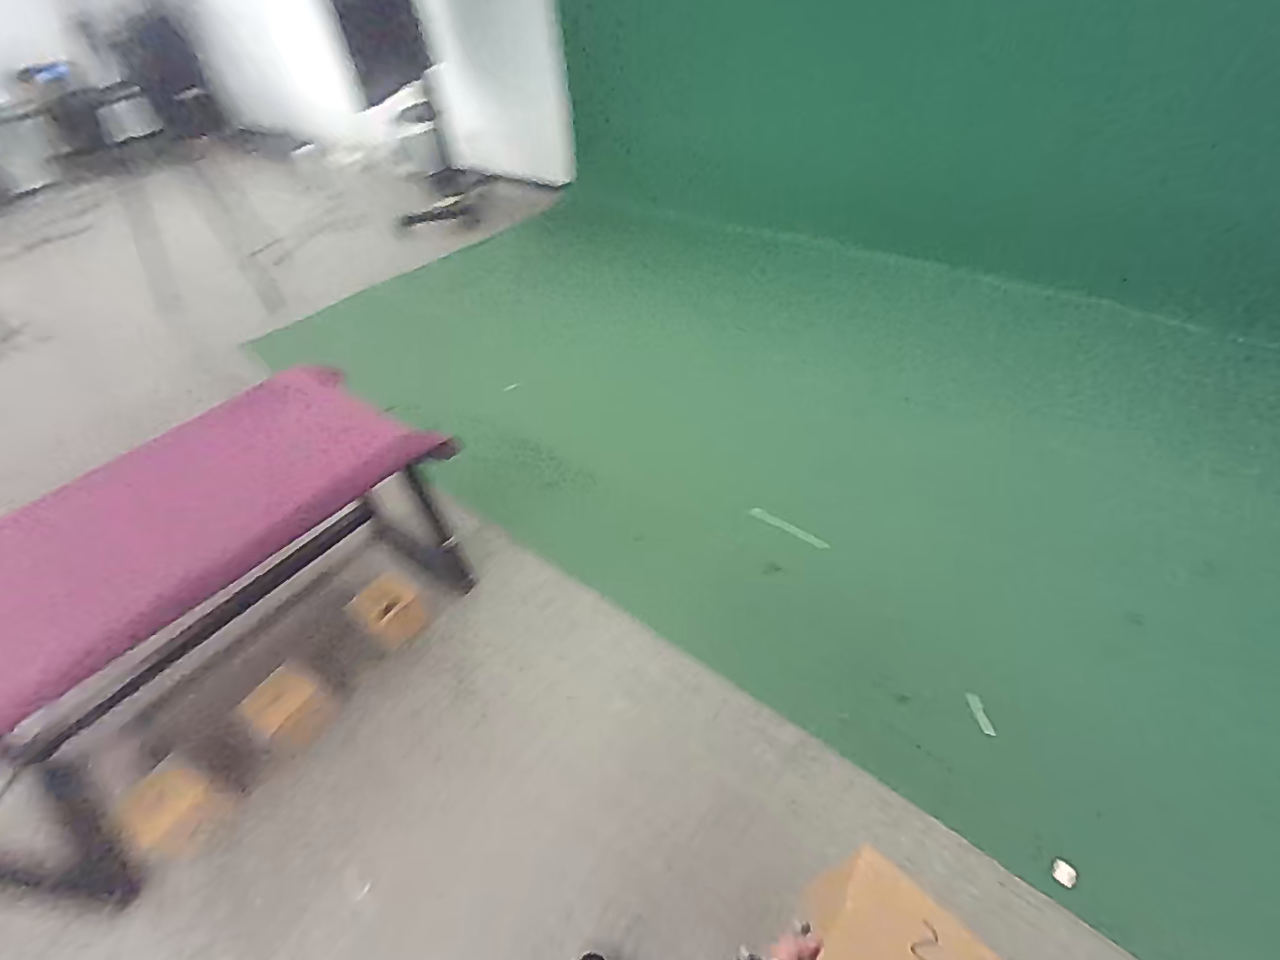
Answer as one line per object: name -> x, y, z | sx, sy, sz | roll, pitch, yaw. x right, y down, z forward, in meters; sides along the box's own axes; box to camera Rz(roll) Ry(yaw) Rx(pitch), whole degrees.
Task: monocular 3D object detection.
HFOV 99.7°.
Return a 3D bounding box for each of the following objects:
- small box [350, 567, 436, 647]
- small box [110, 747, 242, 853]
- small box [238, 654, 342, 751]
small box -> -0.814, 0.429, 1.801 | 0.179, 0.176, 0.168 | 24, 51, 27
small box -> -1.204, 0.843, 1.417 | 0.179, 0.176, 0.168 | 20, 50, 23
small box -> -1.016, 0.655, 1.592 | 0.168, 0.176, 0.179 | 21, 51, 24
